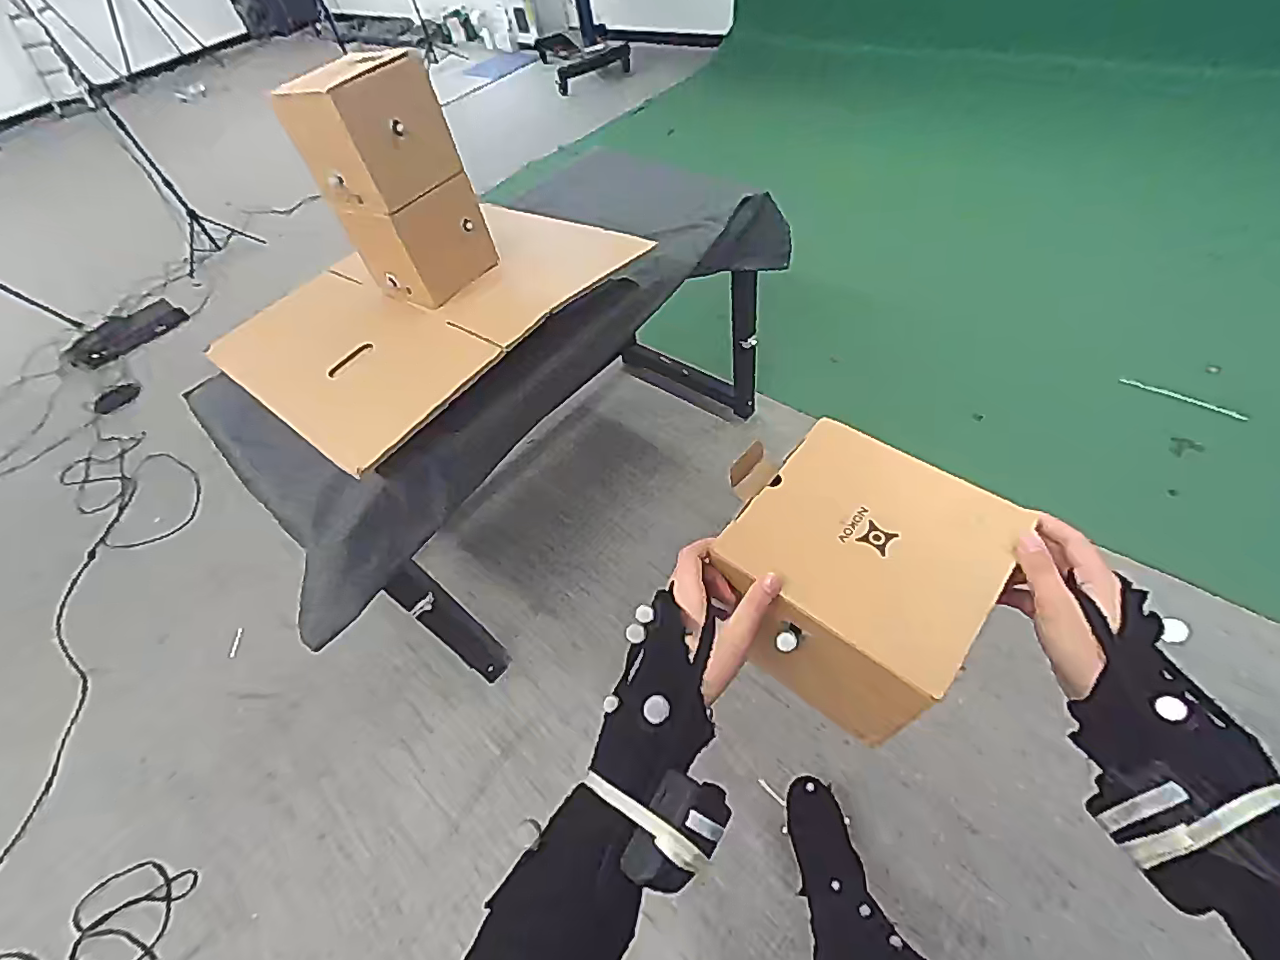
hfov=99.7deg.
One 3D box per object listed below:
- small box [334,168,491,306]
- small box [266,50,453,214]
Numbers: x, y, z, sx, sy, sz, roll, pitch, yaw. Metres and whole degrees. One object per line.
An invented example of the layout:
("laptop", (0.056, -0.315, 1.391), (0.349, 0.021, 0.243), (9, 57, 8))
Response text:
("small box", (-0.396, -0.445, 0.980), (0.168, 0.176, 0.179), (21, 58, 28))
("small box", (-0.426, -0.551, 0.858), (0.168, 0.176, 0.179), (20, 58, 27))
